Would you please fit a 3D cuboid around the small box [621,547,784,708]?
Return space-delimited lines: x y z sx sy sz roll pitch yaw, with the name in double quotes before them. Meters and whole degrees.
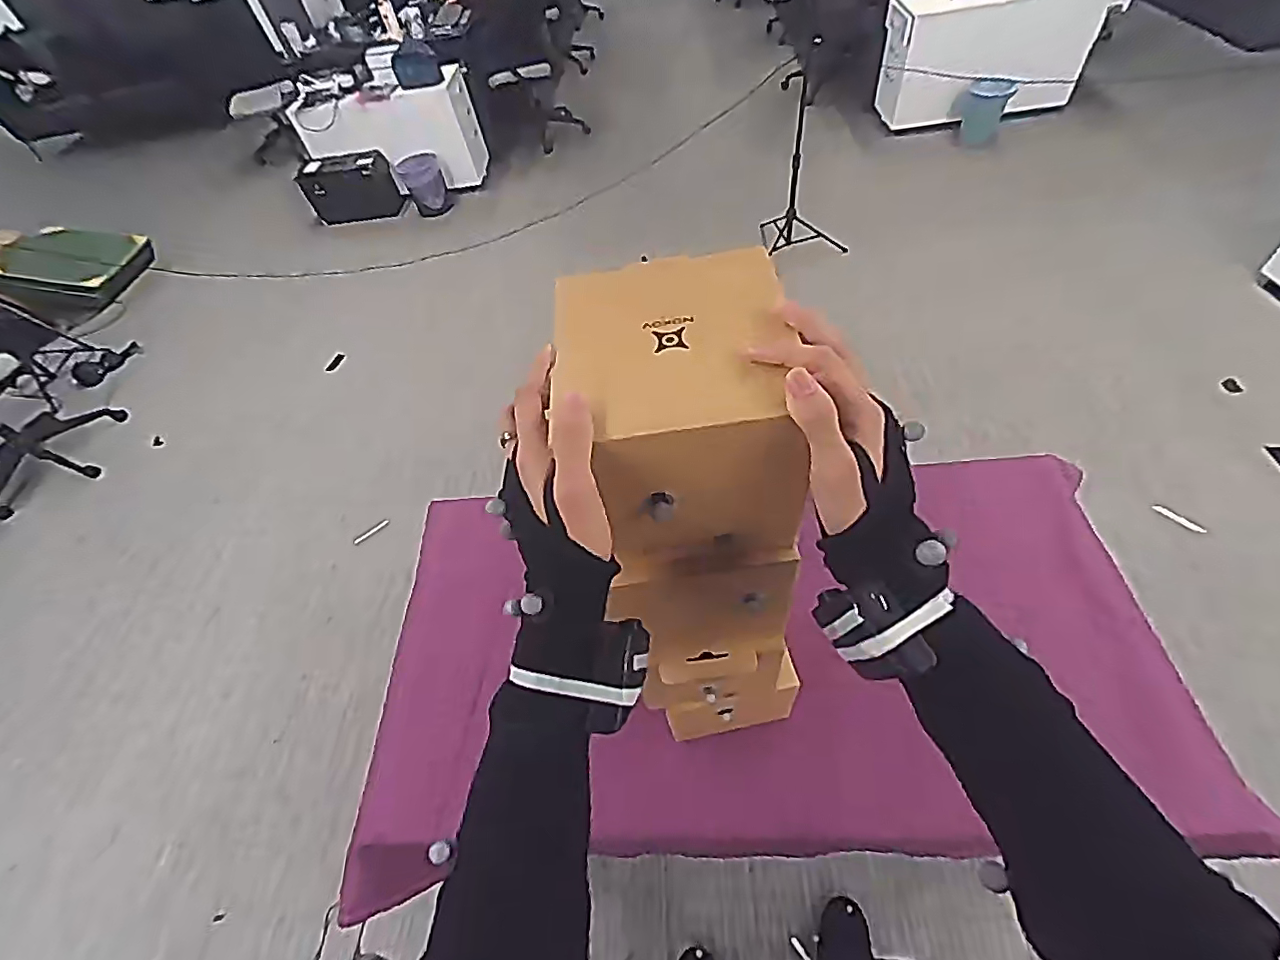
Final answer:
"small box" 0.071 0.162 0.668 0.168 0.176 0.179 -9 53 3

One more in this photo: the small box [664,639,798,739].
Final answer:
"small box" 0.114 0.263 0.792 0.179 0.176 0.168 -12 53 -1

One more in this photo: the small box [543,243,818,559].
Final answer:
"small box" 0.029 -0.051 0.424 0.168 0.176 0.179 -8 52 4
